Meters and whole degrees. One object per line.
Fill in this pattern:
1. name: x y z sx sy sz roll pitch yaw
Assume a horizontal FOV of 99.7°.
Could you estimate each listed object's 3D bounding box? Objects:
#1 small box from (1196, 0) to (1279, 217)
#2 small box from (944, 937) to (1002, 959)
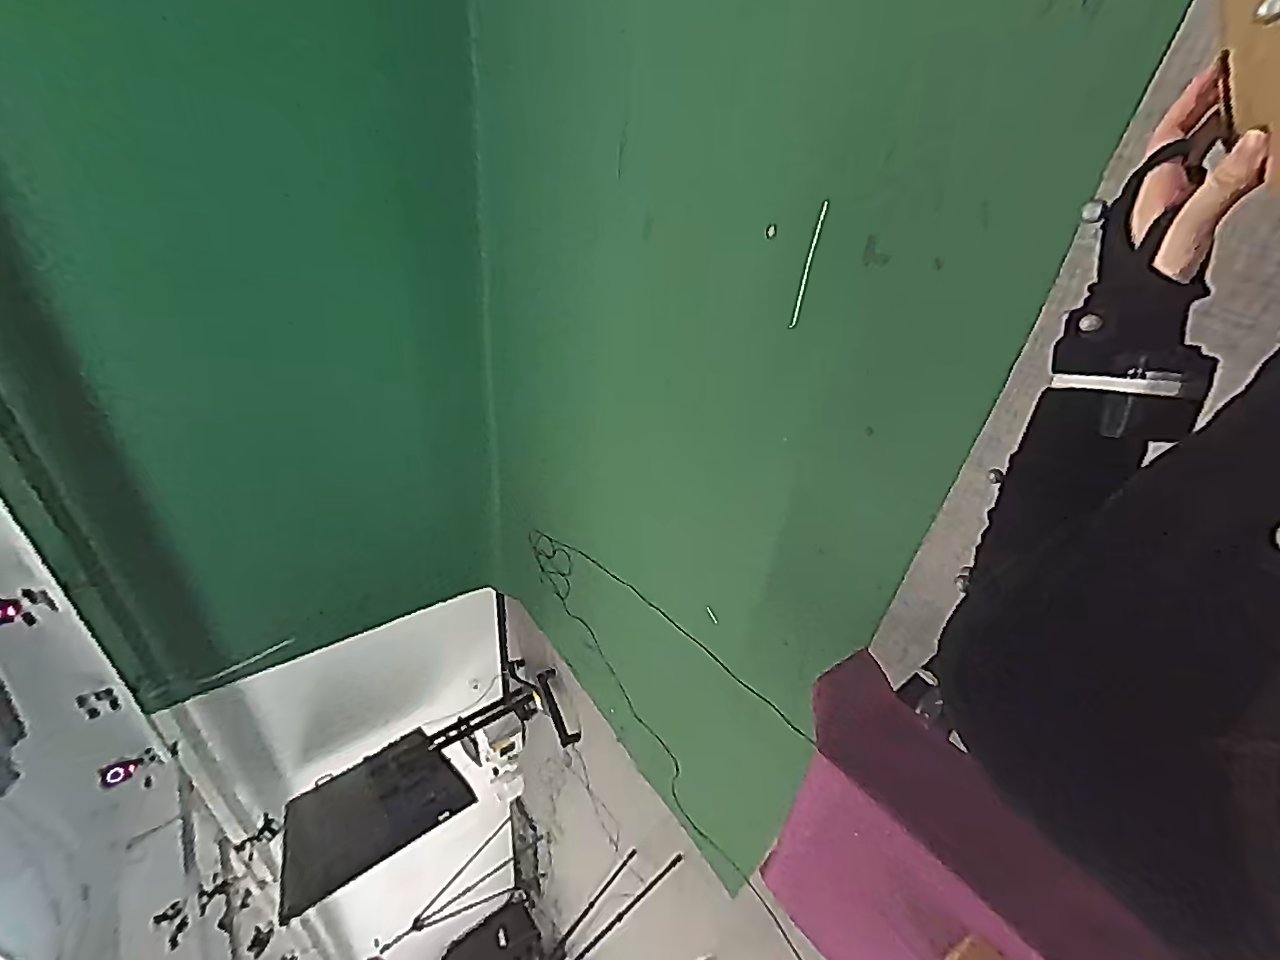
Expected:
1. small box: 0.388 -0.247 0.236 0.179 0.176 0.168 -10 121 38
2. small box: 0.573 0.938 0.911 0.168 0.176 0.179 38 134 39
